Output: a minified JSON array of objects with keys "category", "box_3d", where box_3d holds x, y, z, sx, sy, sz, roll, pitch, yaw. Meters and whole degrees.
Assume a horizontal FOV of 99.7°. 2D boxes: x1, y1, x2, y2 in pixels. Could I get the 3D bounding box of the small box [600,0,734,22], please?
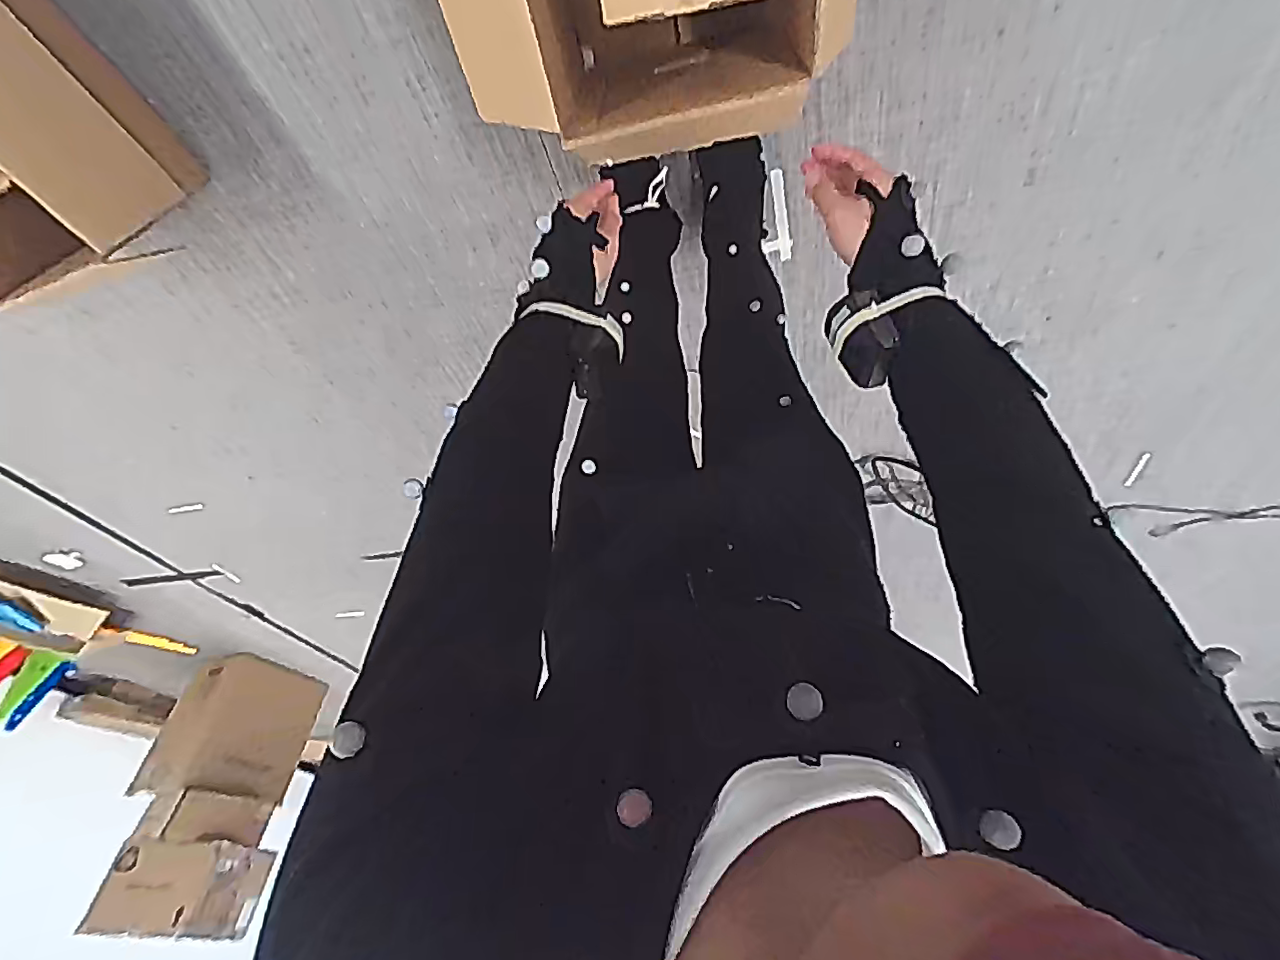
[{"category":"small box","box_3d":[0.031,-0.582,0.527,0.168,0.176,0.179,-6,138,6]}]
